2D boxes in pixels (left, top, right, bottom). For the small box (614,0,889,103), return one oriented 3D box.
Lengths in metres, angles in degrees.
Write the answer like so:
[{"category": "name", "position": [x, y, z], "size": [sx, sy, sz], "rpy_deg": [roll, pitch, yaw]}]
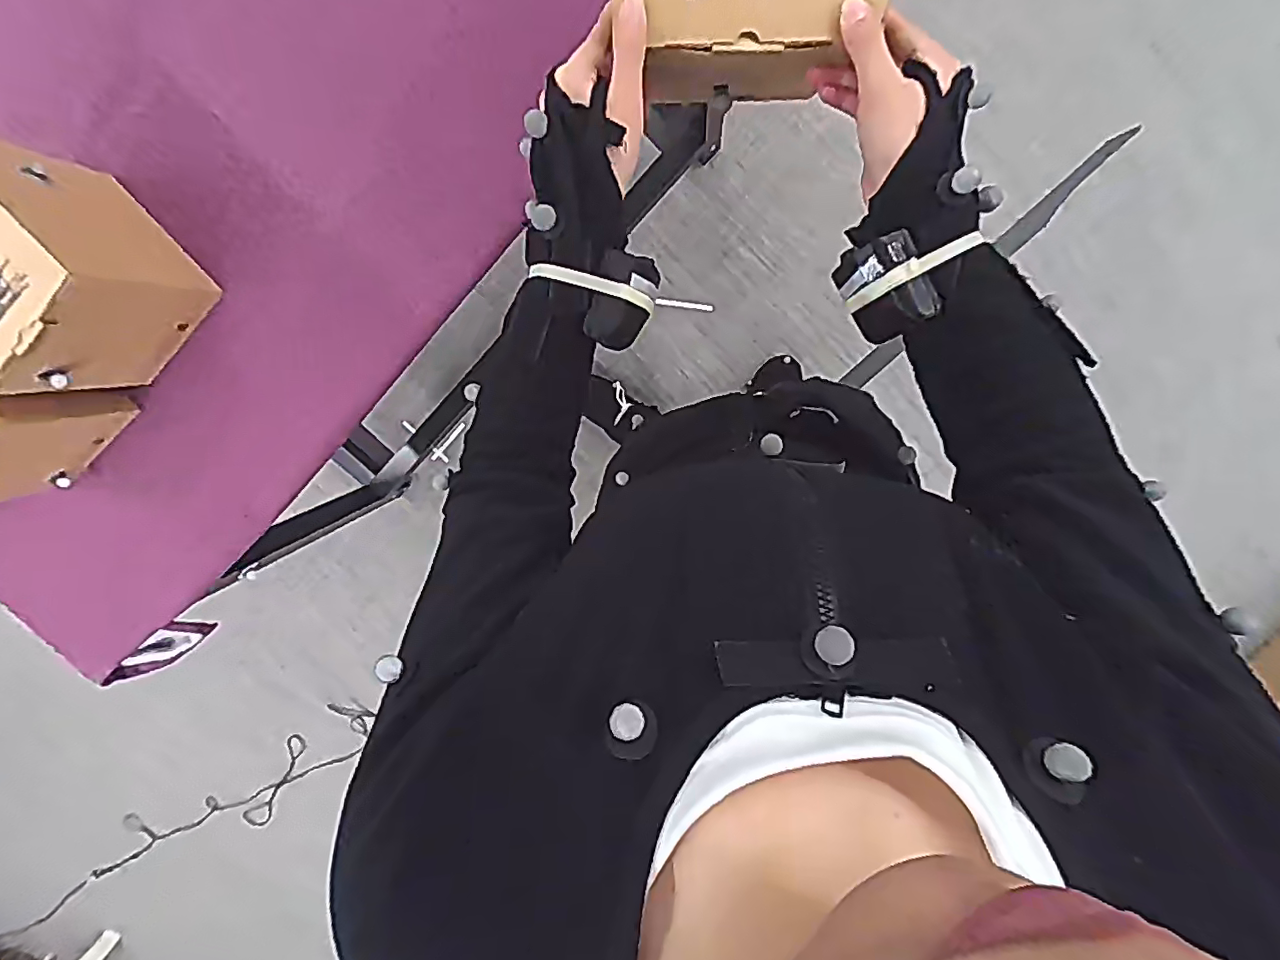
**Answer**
[{"category": "small box", "position": [0.066, -0.377, 0.363], "size": [0.168, 0.176, 0.179], "rpy_deg": [0, 116, 0]}]
